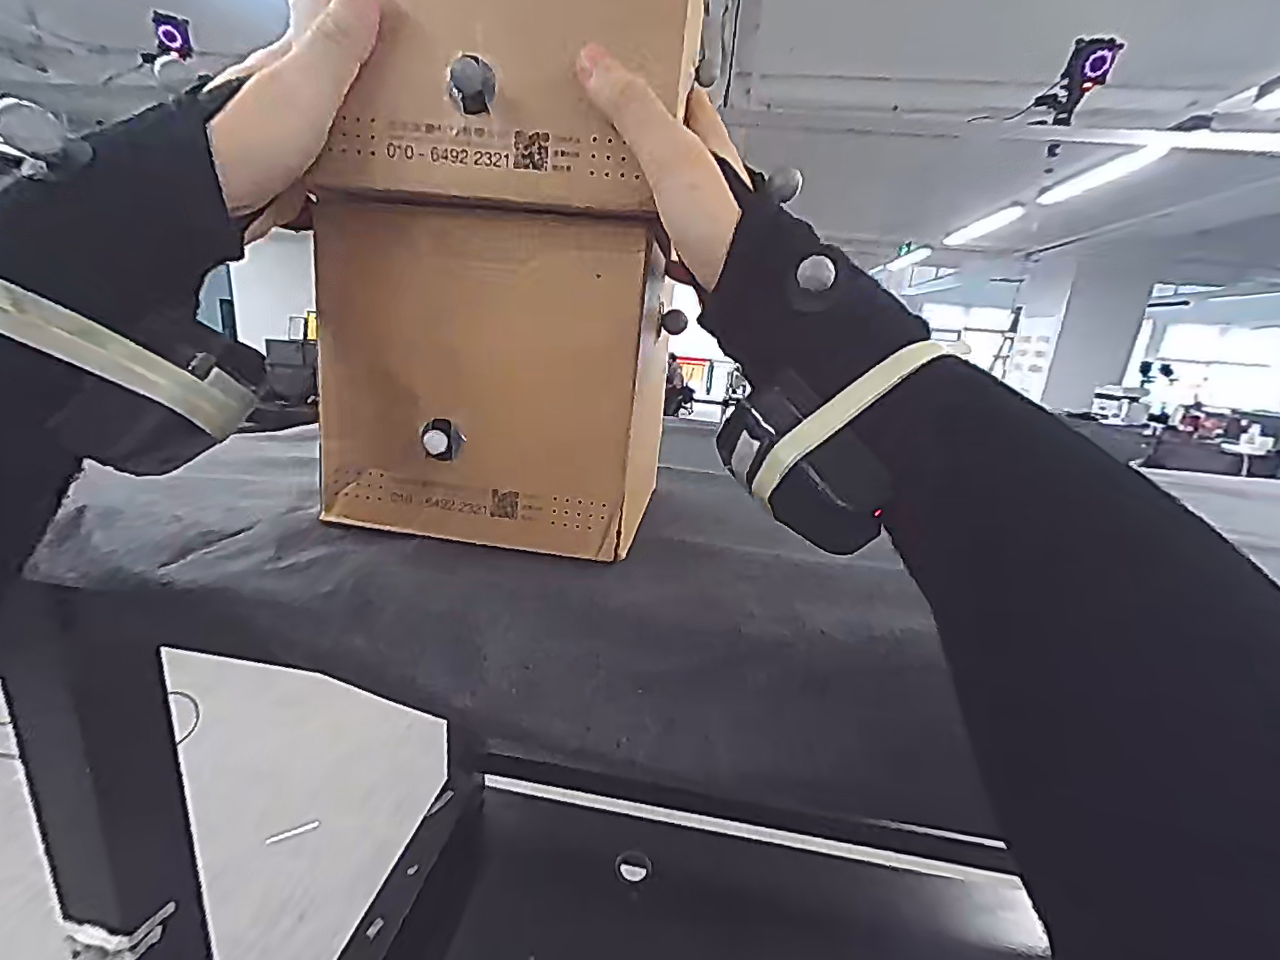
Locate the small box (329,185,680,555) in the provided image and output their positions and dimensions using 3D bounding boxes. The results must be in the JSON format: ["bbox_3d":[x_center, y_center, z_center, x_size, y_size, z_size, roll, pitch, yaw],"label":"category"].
[{"bbox_3d":[-0.069,-0.066,0.347,0.168,0.176,0.179,7,13,6],"label":"small box"}]
